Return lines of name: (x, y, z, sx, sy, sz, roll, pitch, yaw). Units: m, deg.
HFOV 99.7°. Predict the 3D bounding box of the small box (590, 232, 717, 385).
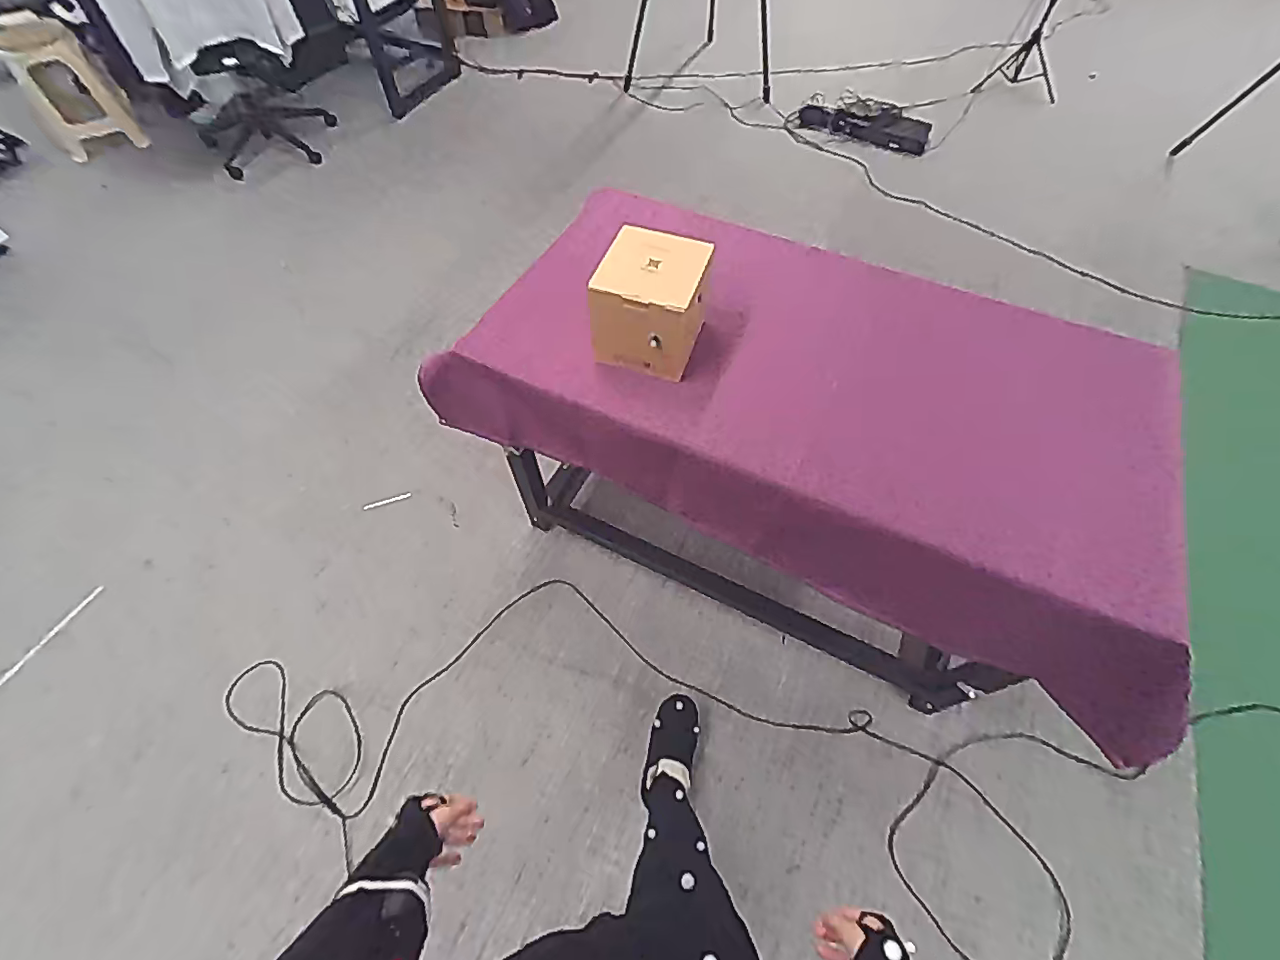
small box: (0.025, -0.295, 0.949, 0.168, 0.176, 0.179, 18, 59, 10)
